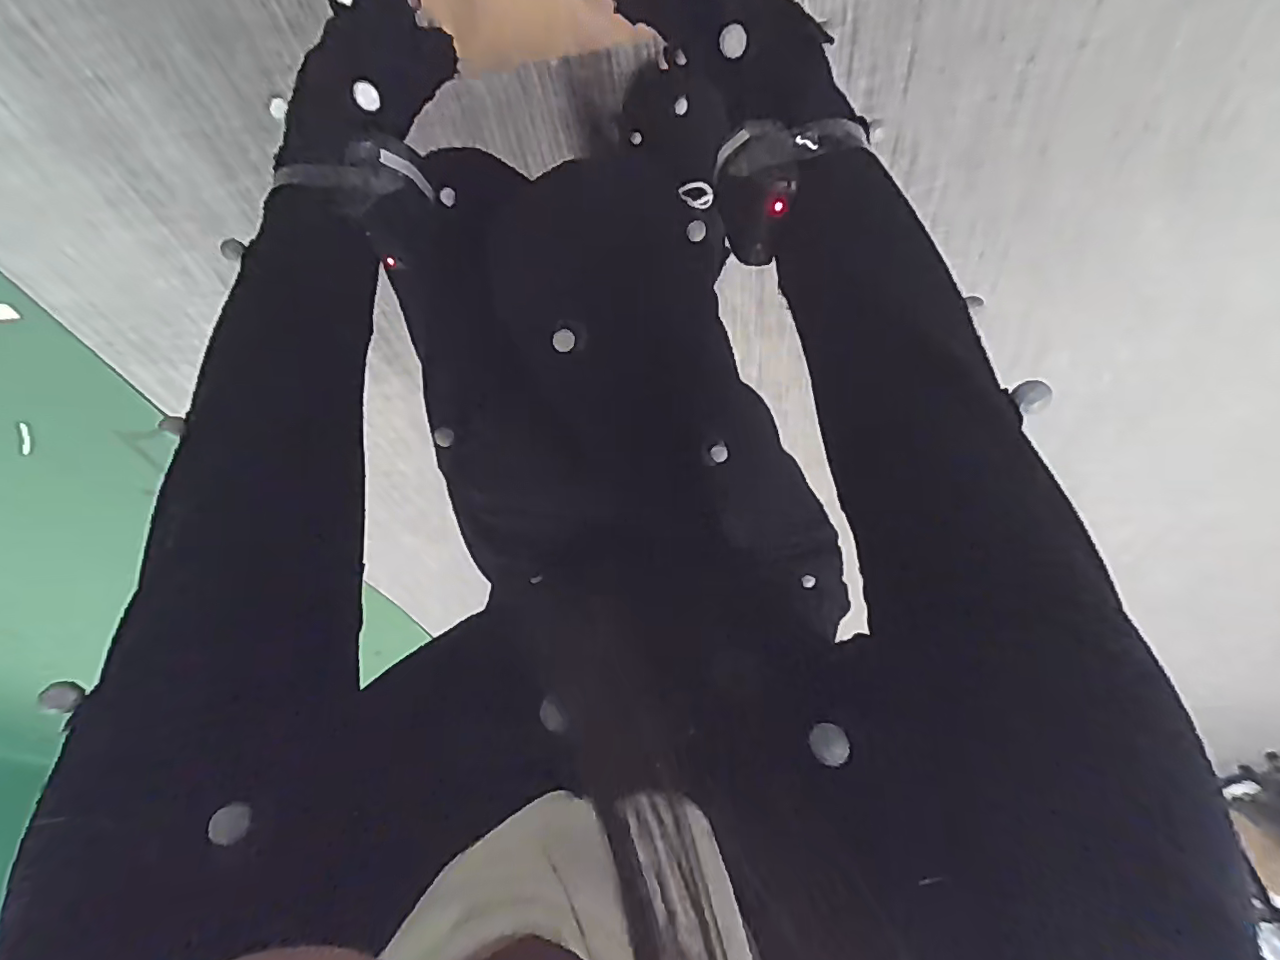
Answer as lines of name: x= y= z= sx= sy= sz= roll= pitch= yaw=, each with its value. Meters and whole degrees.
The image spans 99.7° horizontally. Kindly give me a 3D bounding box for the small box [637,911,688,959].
small box: x=0.089 y=1.762 z=2.067 sx=0.179 sy=0.176 sz=0.168 roll=-8 pitch=142 yaw=9
